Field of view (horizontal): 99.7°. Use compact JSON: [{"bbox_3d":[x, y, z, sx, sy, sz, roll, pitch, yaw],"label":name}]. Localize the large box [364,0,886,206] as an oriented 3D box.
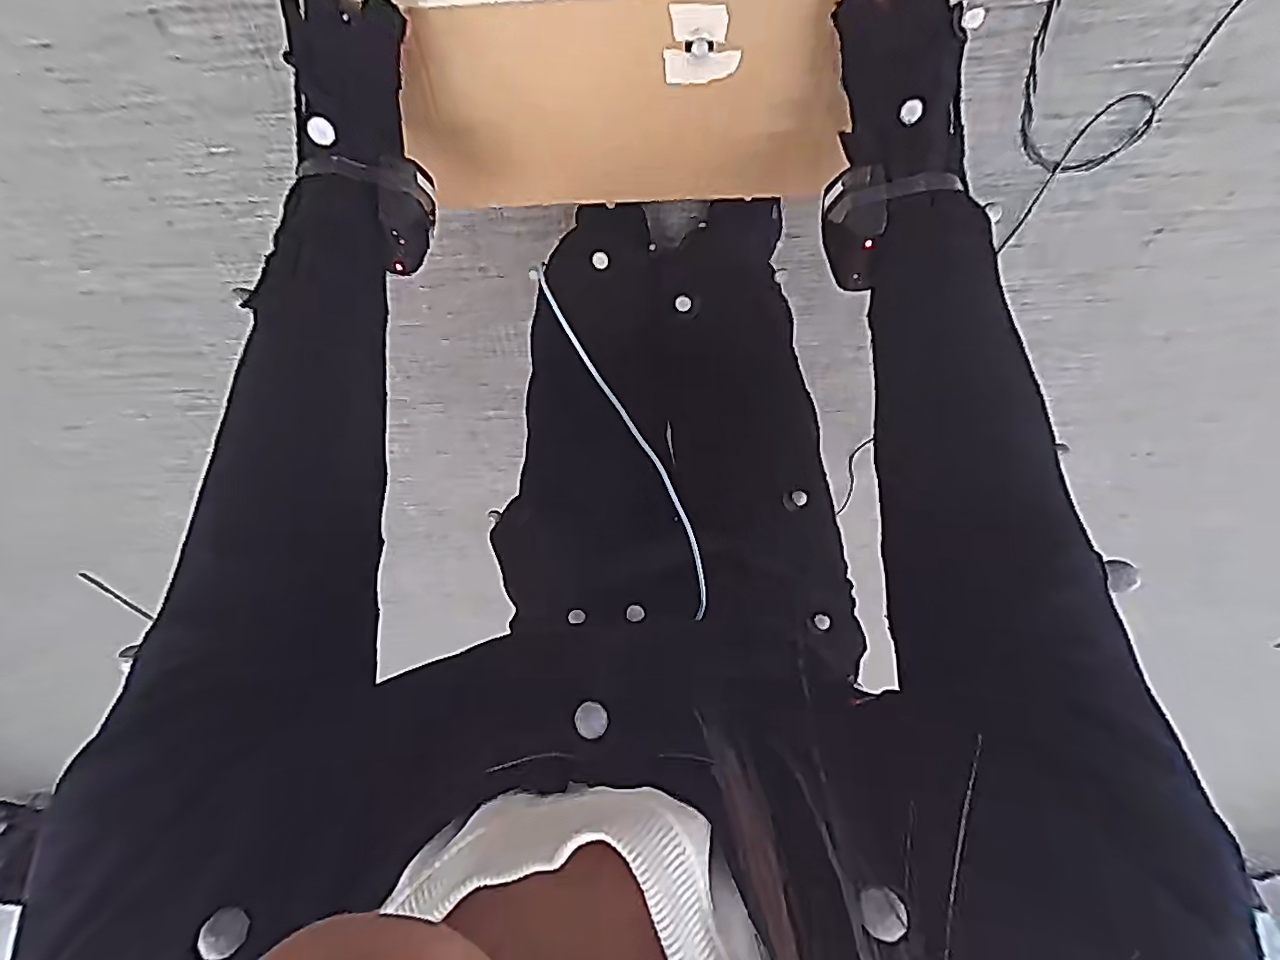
[{"bbox_3d":[-0.012,-0.482,0.498,0.408,0.320,0.320,-1,138,4],"label":"large box"}]
